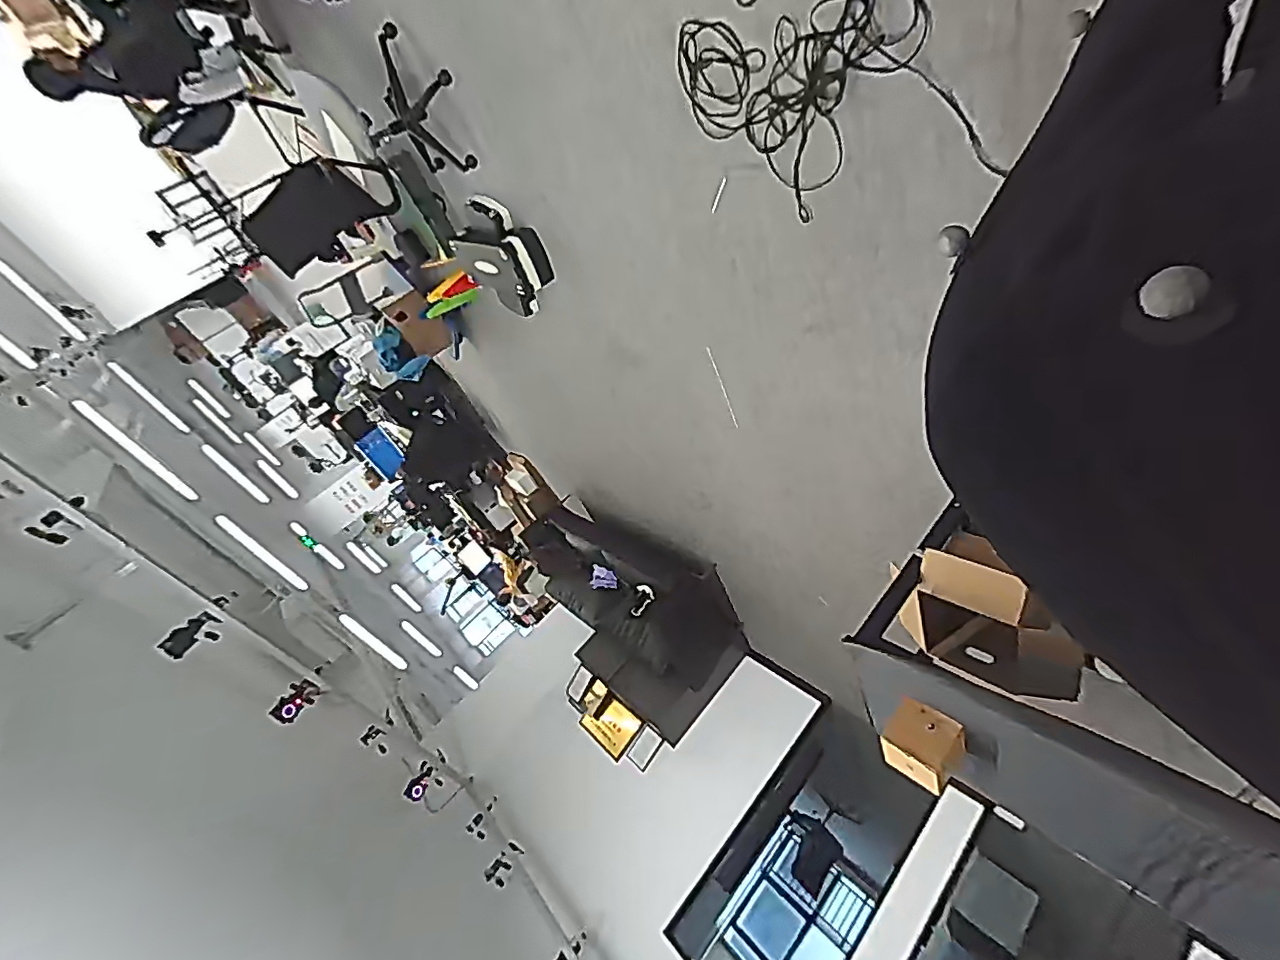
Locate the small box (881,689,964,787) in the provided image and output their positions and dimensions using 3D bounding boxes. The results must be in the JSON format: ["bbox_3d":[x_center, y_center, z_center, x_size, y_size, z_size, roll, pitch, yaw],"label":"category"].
[{"bbox_3d":[0.858,0.773,1.633,0.168,0.176,0.179,22,149,46],"label":"small box"}]
